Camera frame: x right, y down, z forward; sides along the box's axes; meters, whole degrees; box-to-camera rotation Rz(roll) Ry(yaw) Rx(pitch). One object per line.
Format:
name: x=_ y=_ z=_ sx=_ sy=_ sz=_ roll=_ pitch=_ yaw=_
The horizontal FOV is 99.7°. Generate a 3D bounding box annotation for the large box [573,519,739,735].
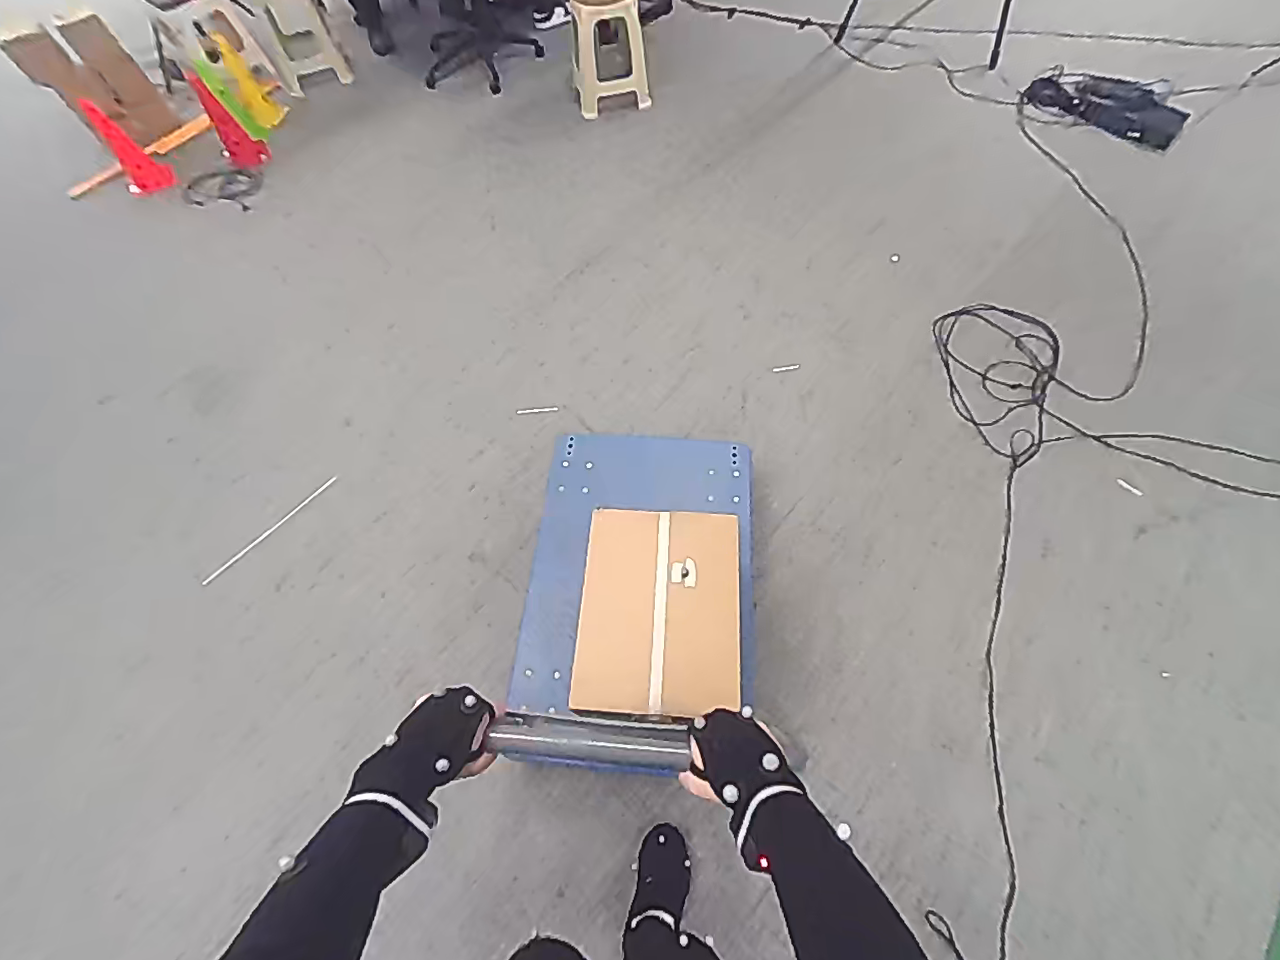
large box: x=0.044 y=0.338 z=1.215 sx=0.320 sy=0.320 sz=0.408 roll=3 pitch=61 yaw=3
